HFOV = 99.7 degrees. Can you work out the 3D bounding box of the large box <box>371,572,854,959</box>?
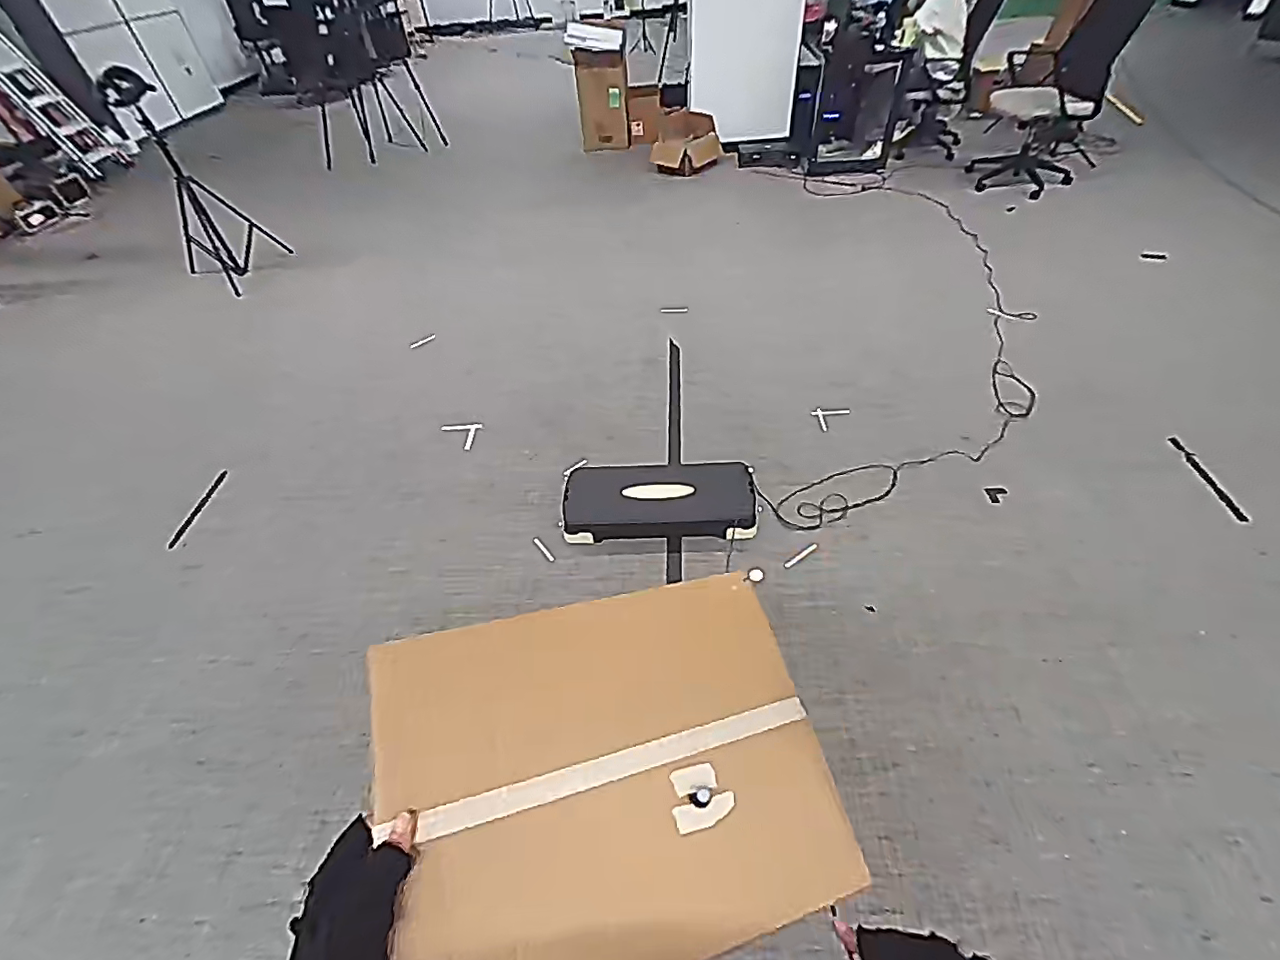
[{"bbox_3d":[-0.060,0.344,0.626,0.408,0.320,0.320,-8,60,-20],"label":"large box"}]
